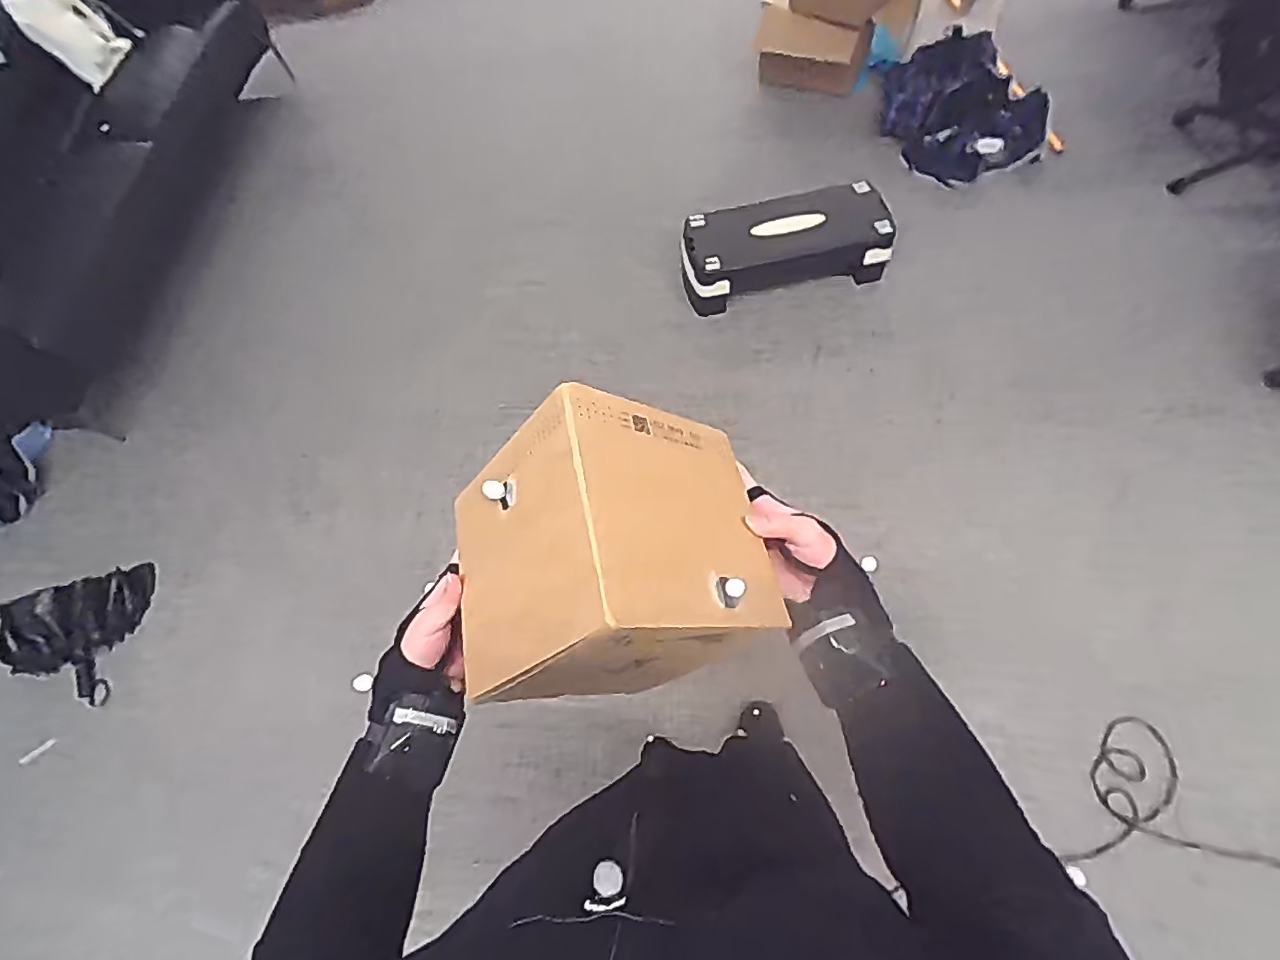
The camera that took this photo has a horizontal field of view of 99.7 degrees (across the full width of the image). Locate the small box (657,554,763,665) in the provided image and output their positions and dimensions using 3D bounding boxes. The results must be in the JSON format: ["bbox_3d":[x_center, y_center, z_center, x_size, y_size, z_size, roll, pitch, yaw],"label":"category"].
[{"bbox_3d":[0.155,0.303,1.244,0.179,0.176,0.168,-36,68,-10],"label":"small box"}]

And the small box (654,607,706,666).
[{"bbox_3d":[0.159,0.358,1.400,0.179,0.176,0.168,-43,69,-15],"label":"small box"}]
